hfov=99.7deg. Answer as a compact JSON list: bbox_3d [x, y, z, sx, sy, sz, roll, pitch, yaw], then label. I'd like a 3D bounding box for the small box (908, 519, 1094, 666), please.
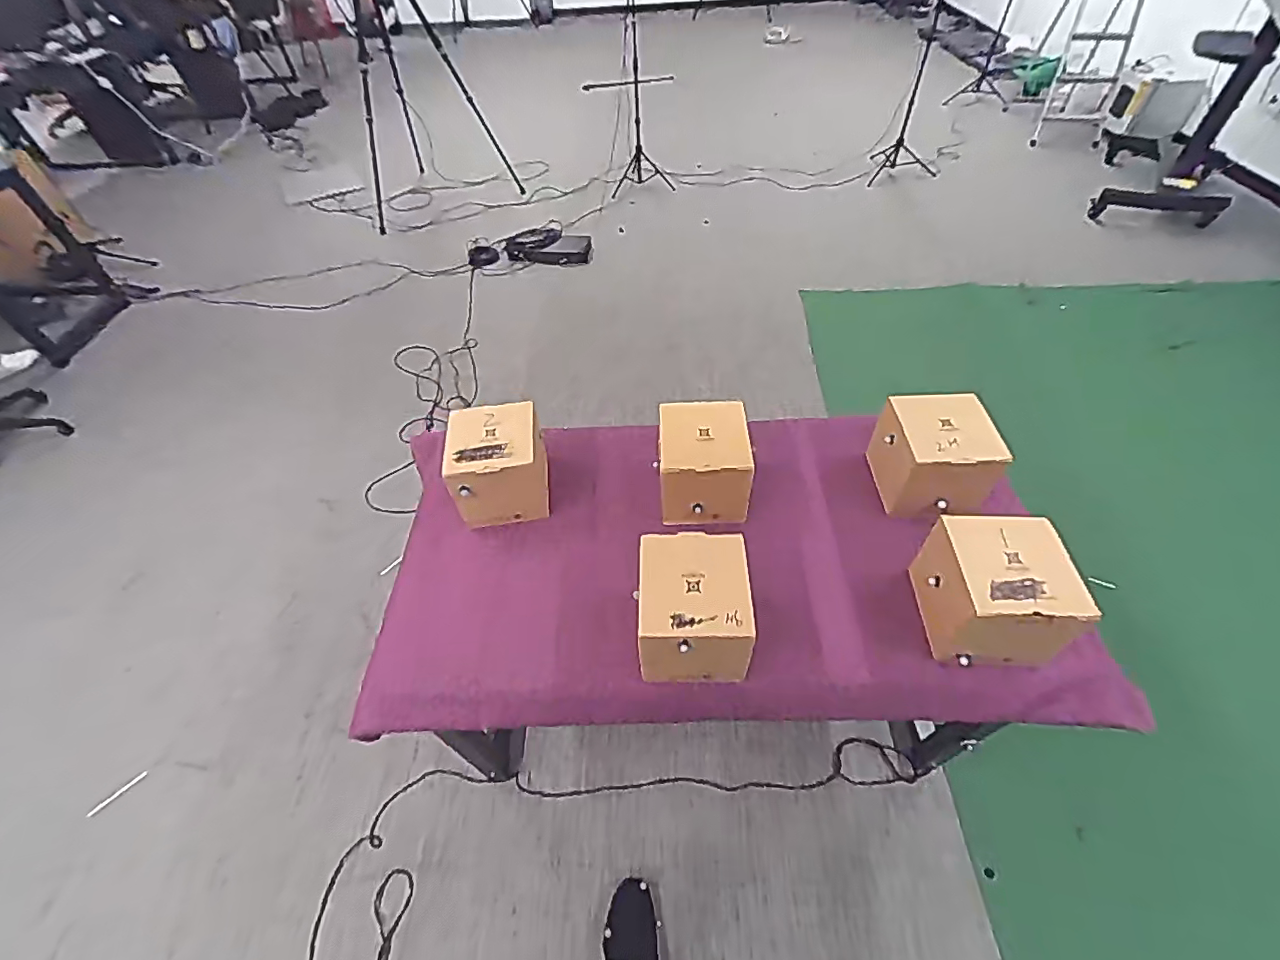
[{"bbox_3d":[0.555,0.182,0.862,0.168,0.176,0.179,1,49,5],"label":"small box"}]

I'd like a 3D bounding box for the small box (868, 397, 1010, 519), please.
[{"bbox_3d":[0.562,-0.042,1.049,0.168,0.176,0.179,-1,51,3],"label":"small box"}]

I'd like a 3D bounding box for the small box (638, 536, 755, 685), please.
[{"bbox_3d":[0.083,0.207,0.863,0.168,0.176,0.179,-1,48,3],"label":"small box"}]

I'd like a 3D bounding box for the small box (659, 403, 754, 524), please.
[{"bbox_3d":[0.122,-0.031,1.063,0.168,0.176,0.179,-1,52,1],"label":"small box"}]
